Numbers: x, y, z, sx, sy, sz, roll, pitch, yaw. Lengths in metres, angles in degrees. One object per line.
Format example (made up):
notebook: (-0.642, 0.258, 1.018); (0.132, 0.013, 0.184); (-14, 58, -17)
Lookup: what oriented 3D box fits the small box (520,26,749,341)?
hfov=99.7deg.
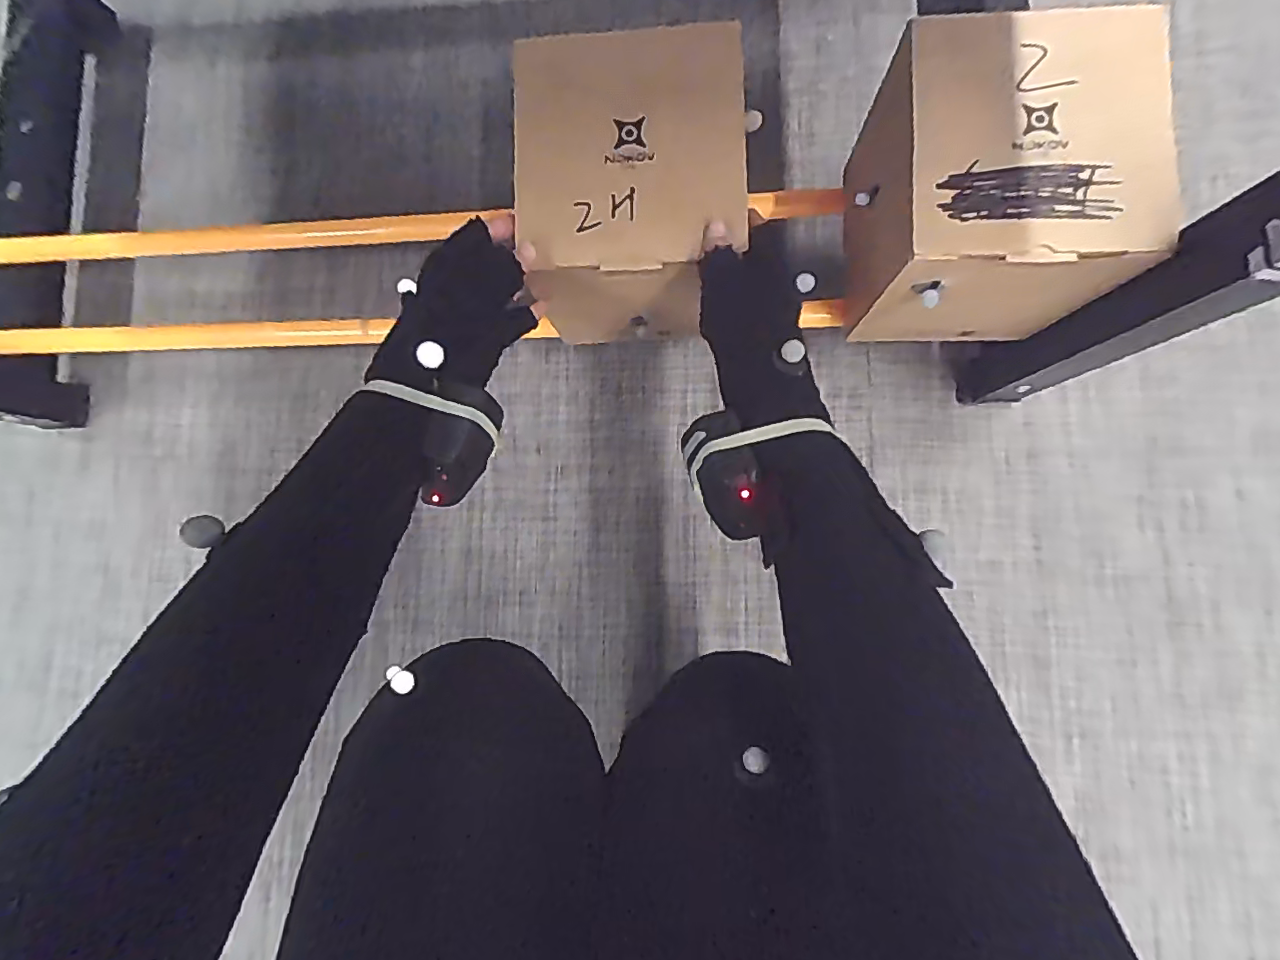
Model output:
small box: (0.003, -0.236, 0.471); (0.168, 0.176, 0.179); (-1, 85, 6)
